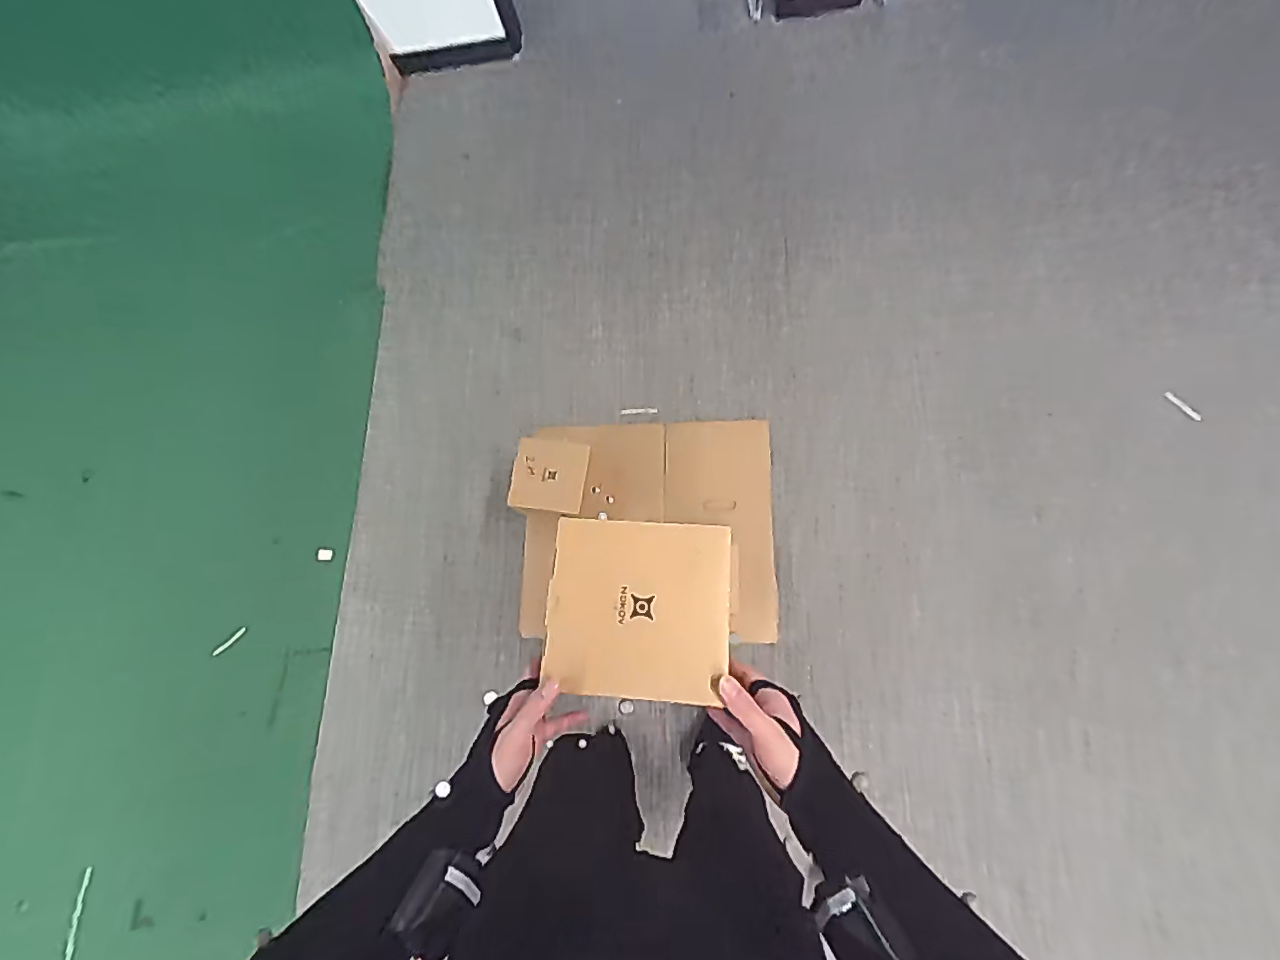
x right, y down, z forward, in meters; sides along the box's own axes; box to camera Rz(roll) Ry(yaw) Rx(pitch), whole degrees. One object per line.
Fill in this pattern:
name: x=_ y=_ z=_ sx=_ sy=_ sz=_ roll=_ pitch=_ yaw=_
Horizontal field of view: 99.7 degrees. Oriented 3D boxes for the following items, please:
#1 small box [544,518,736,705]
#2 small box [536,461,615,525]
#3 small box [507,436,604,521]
small box: x=0.010 y=0.141 z=0.590 sx=0.179 sy=0.176 sz=0.168 roll=2 pitch=74 yaw=7
small box: x=-0.174 y=0.037 z=1.461 sx=0.179 sy=0.176 sz=0.168 roll=7 pitch=77 yaw=10
small box: x=-0.194 y=0.004 z=1.299 sx=0.179 sy=0.176 sz=0.168 roll=7 pitch=77 yaw=10
